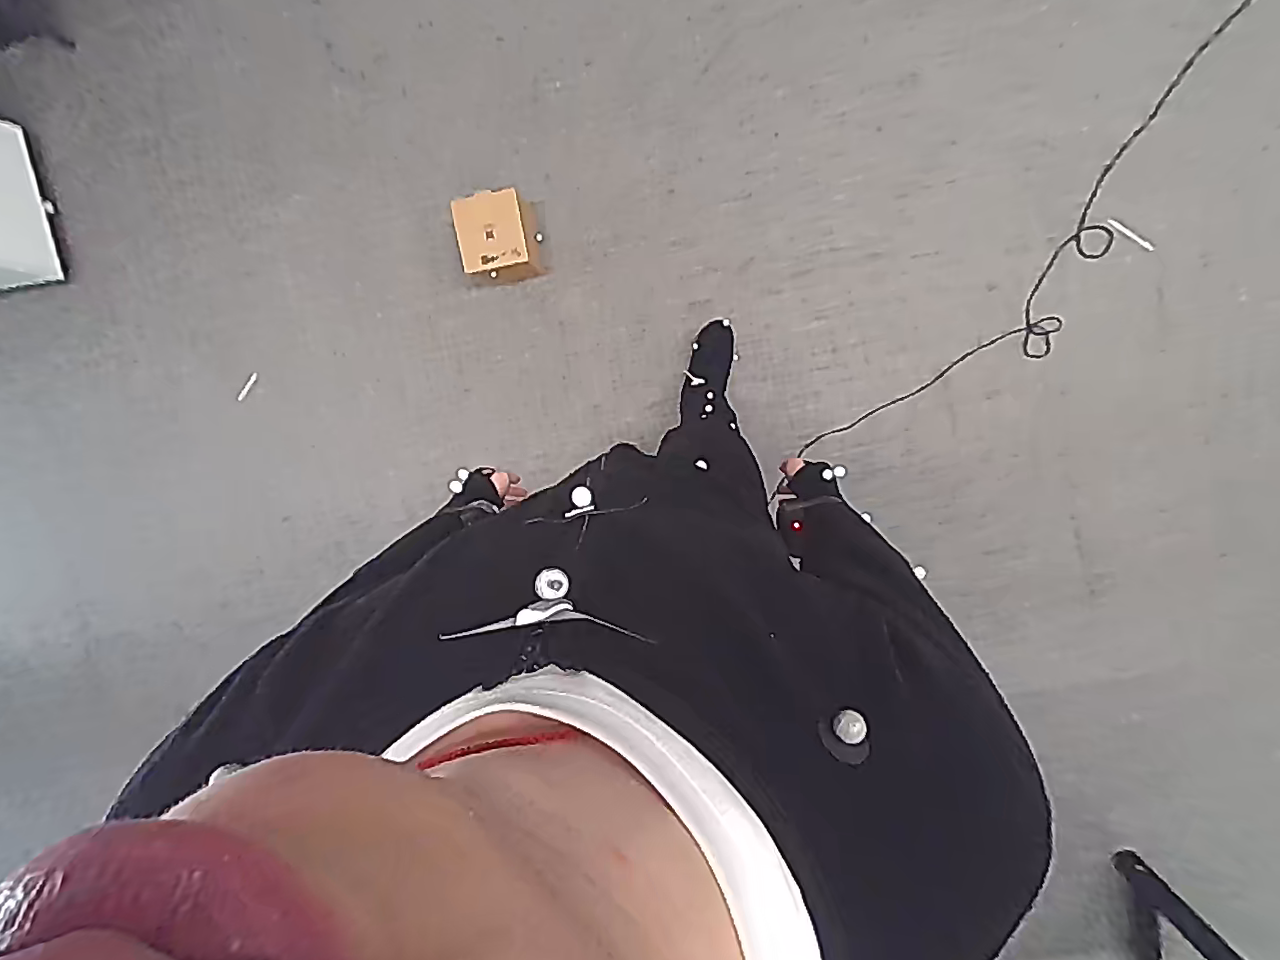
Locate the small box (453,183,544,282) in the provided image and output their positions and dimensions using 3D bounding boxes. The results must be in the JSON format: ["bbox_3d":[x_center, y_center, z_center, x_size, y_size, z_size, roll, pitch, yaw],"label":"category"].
[{"bbox_3d":[-0.357,-0.629,1.391,0.168,0.176,0.179,-8,98,6],"label":"small box"}]
